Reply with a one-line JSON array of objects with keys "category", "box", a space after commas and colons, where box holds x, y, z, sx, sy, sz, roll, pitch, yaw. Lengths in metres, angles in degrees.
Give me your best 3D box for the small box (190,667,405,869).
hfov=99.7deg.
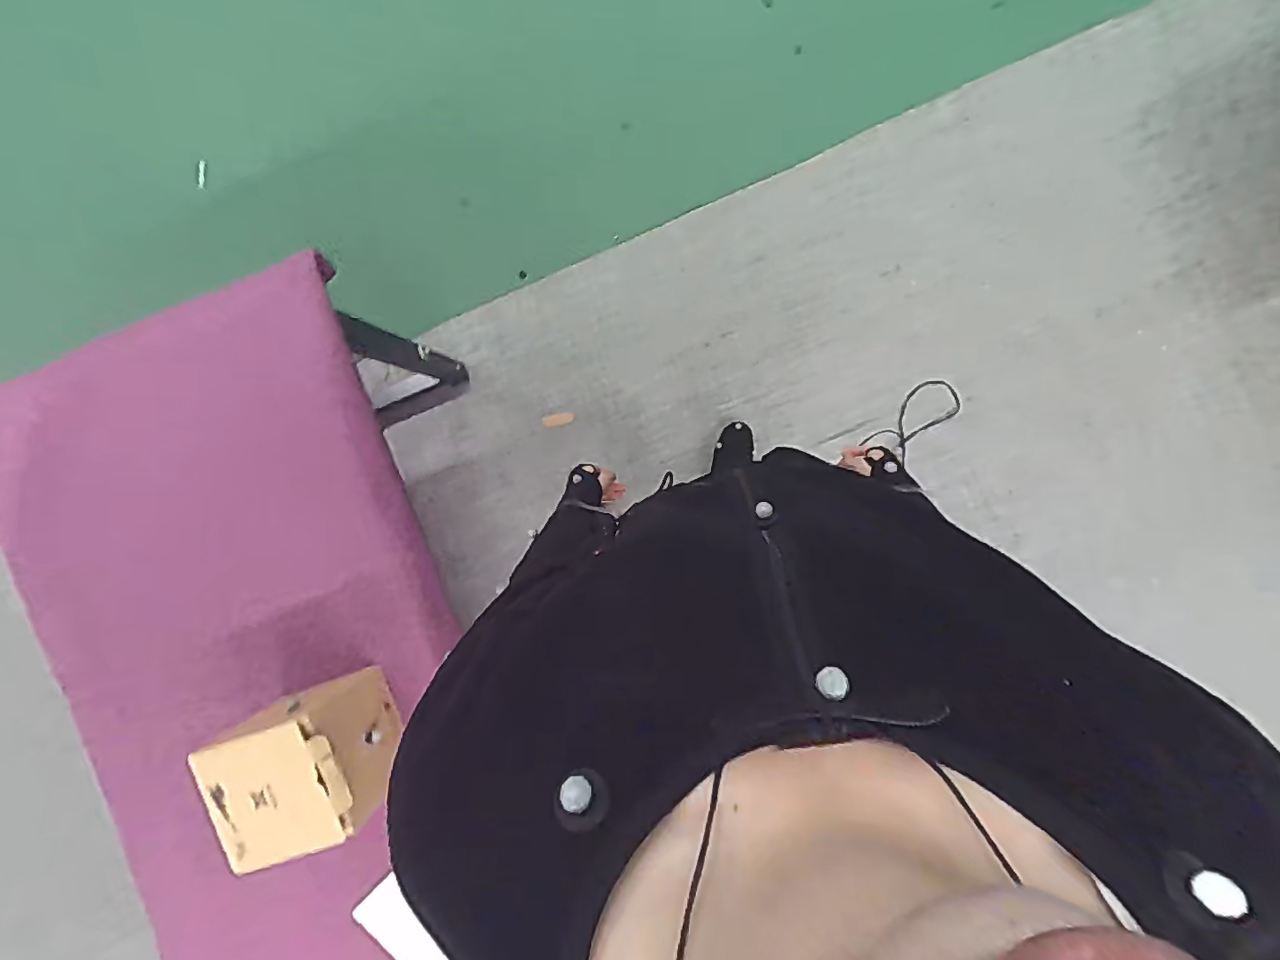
[{"category": "small box", "box": [-0.459, 0.388, 0.761, 0.179, 0.176, 0.168, -21, 90, 4]}]
